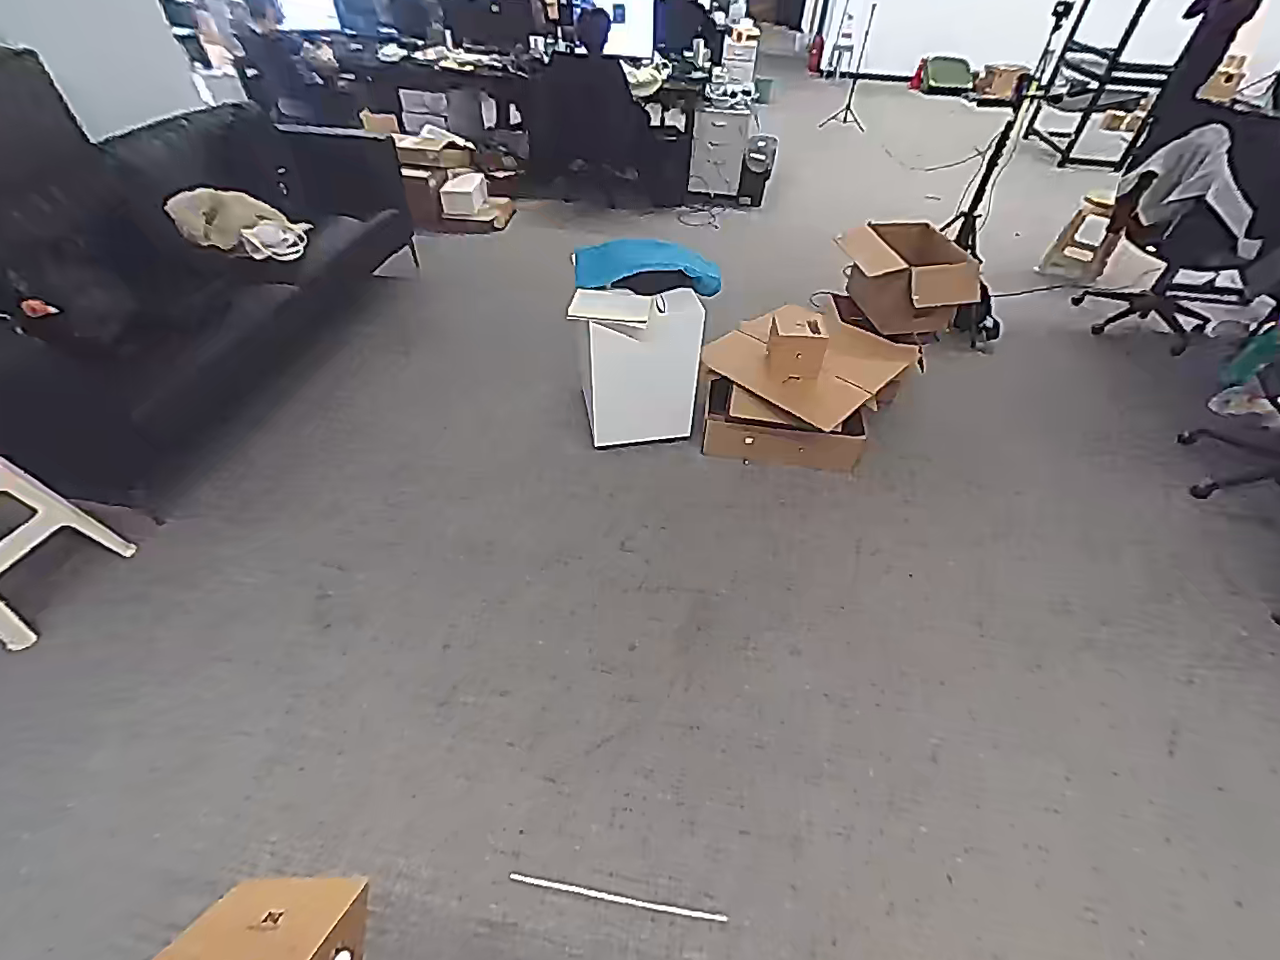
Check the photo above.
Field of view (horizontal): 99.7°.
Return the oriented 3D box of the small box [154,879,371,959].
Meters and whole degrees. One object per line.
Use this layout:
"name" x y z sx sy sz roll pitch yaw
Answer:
"small box" -0.444 0.608 0.636 0.168 0.179 0.176 2 80 -4
